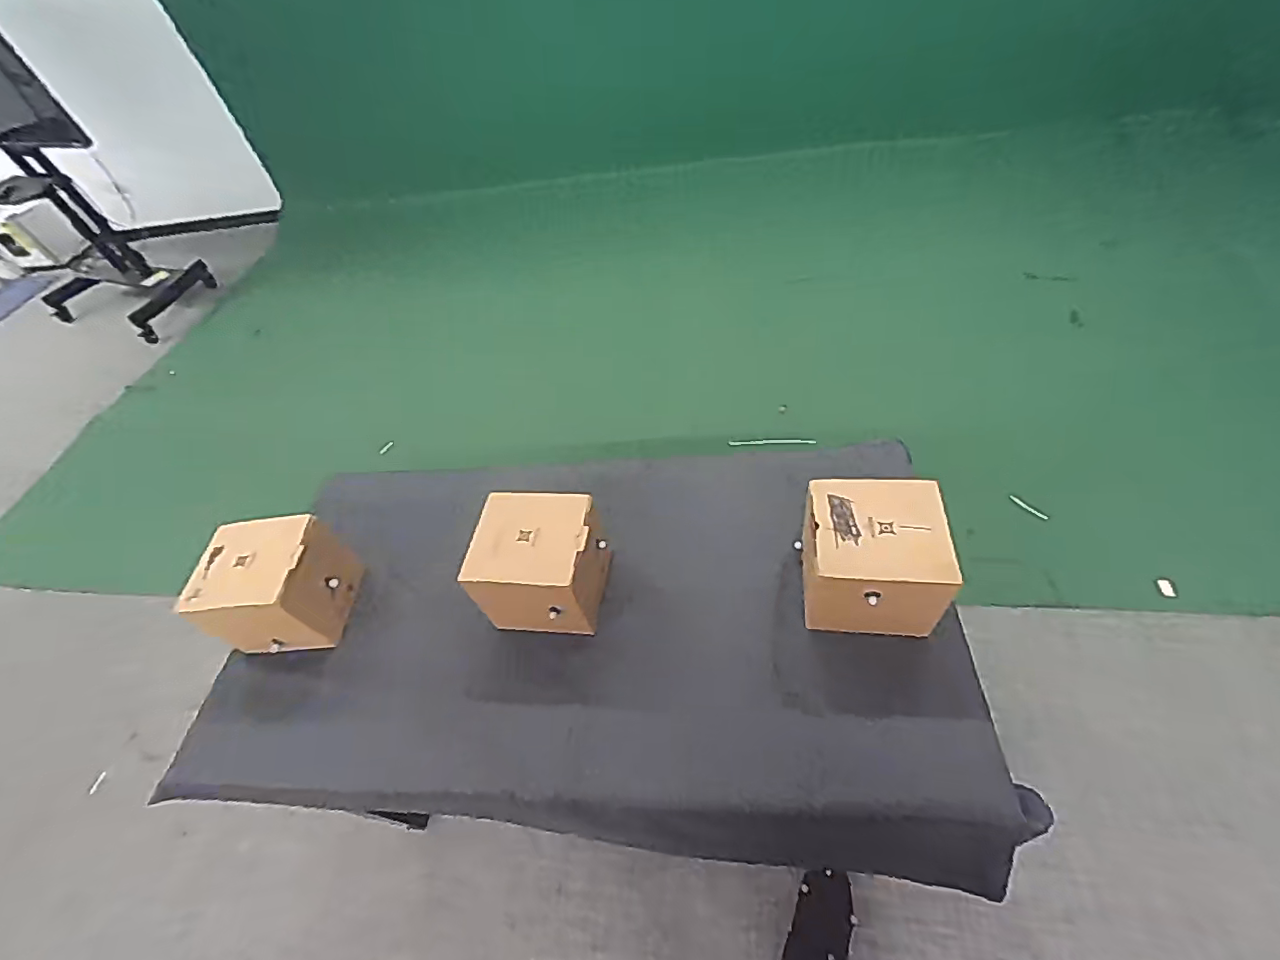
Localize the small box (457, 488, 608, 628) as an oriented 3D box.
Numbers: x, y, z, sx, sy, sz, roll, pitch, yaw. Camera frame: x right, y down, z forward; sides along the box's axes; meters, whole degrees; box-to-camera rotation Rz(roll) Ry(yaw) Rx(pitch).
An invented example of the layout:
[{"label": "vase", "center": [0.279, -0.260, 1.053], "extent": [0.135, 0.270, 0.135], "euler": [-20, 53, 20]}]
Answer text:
[{"label": "small box", "center": [-0.159, 0.129, 0.876], "extent": [0.179, 0.176, 0.168], "euler": [0, 50, 12]}]

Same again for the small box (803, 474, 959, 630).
[{"label": "small box", "center": [0.335, 0.108, 0.793], "extent": [0.179, 0.176, 0.168], "euler": [1, 52, 11]}]

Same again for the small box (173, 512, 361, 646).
[{"label": "small box", "center": [-0.617, 0.173, 0.926], "extent": [0.179, 0.176, 0.168], "euler": [-5, 51, 5]}]
